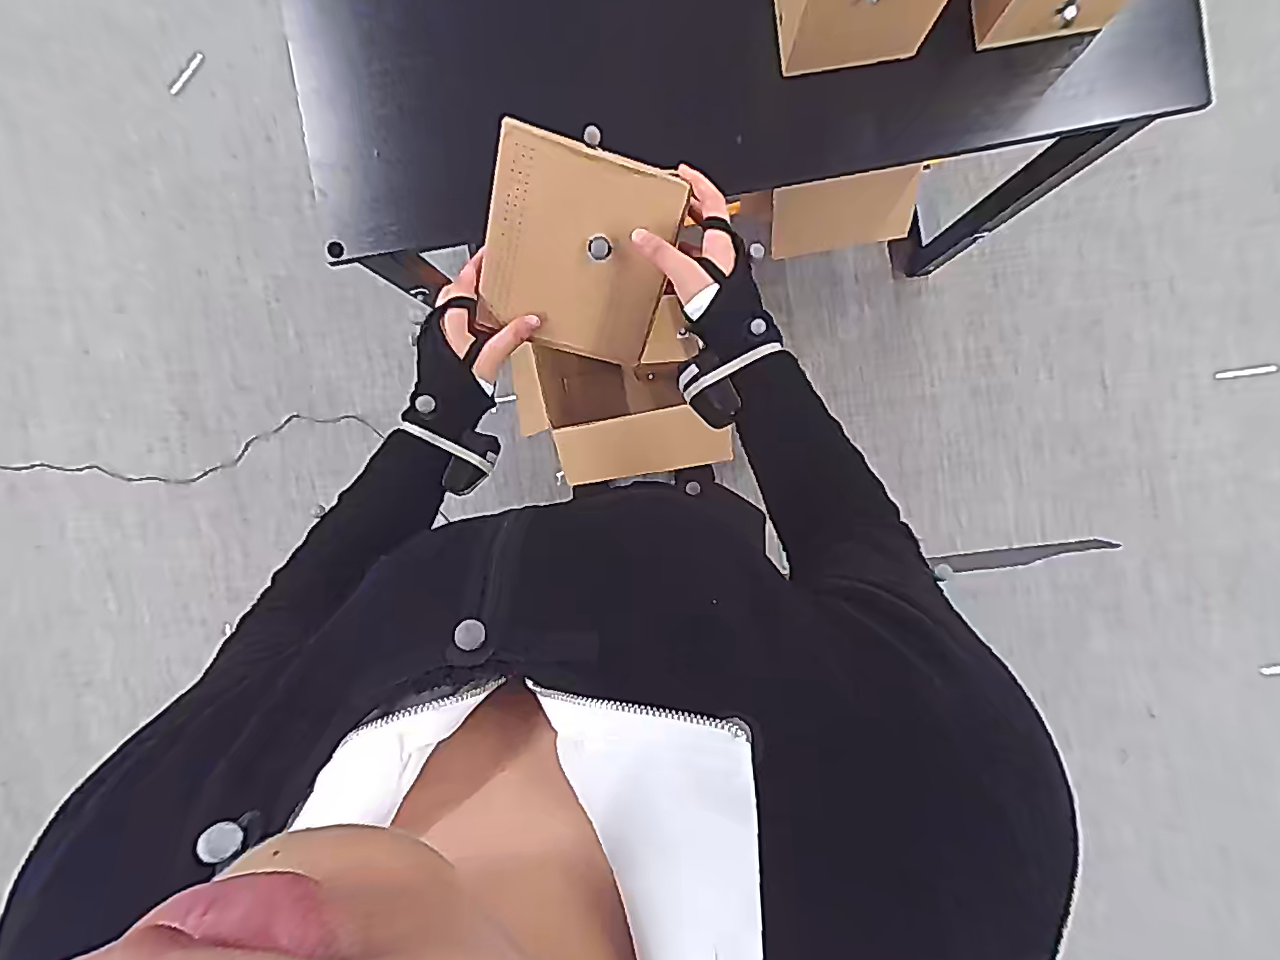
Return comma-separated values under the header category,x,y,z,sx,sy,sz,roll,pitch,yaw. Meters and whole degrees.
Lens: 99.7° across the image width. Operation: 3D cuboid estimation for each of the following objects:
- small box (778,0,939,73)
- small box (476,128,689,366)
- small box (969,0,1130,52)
category,x,y,z,sx,sy,sz,roll,pitch,yaw
small box,0.262,-0.625,0.641,0.179,0.176,0.168,-7,92,2
small box,-0.069,-0.240,0.553,0.176,0.168,0.179,10,121,-14
small box,0.506,-0.656,0.628,0.168,0.176,0.179,-7,92,3
